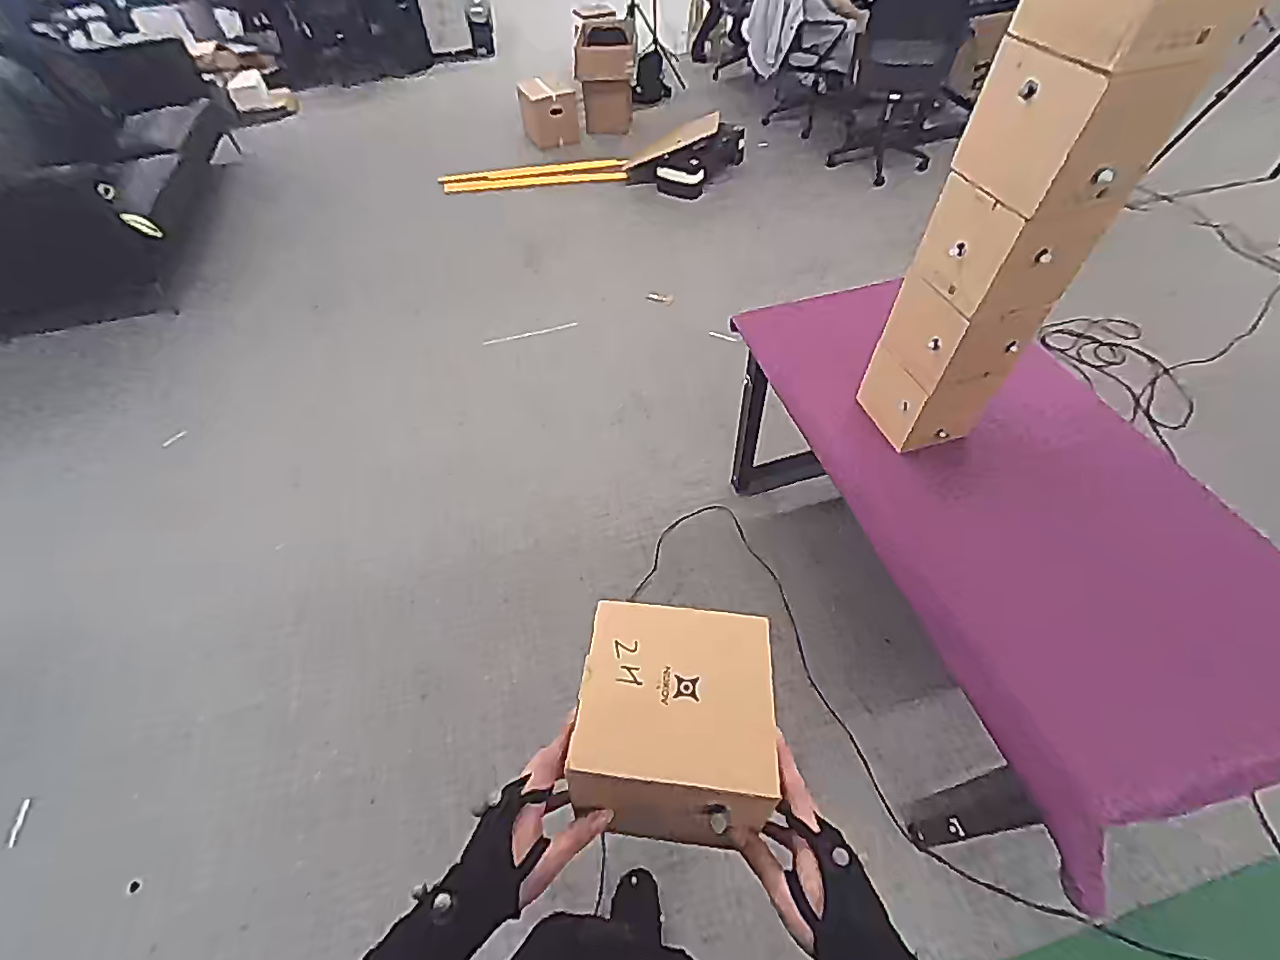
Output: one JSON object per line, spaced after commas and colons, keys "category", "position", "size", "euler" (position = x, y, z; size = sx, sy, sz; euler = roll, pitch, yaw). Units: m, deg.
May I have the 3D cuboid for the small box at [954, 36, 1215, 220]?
{"category": "small box", "position": [0.572, -0.480, 0.731], "size": [0.168, 0.176, 0.179], "euler": [-15, 54, -9]}

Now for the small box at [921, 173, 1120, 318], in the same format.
{"category": "small box", "position": [0.581, -0.382, 0.863], "size": [0.179, 0.176, 0.168], "euler": [-15, 54, -9]}

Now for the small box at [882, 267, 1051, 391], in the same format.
{"category": "small box", "position": [0.582, -0.281, 0.990], "size": [0.168, 0.176, 0.179], "euler": [-14, 53, -8]}

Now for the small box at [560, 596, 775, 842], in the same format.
{"category": "small box", "position": [0.030, 0.242, 0.544], "size": [0.179, 0.176, 0.168], "euler": [5, 43, 5]}

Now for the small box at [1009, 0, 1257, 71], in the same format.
{"category": "small box", "position": [0.571, -0.577, 0.601], "size": [0.168, 0.176, 0.179], "euler": [-15, 53, -9]}
